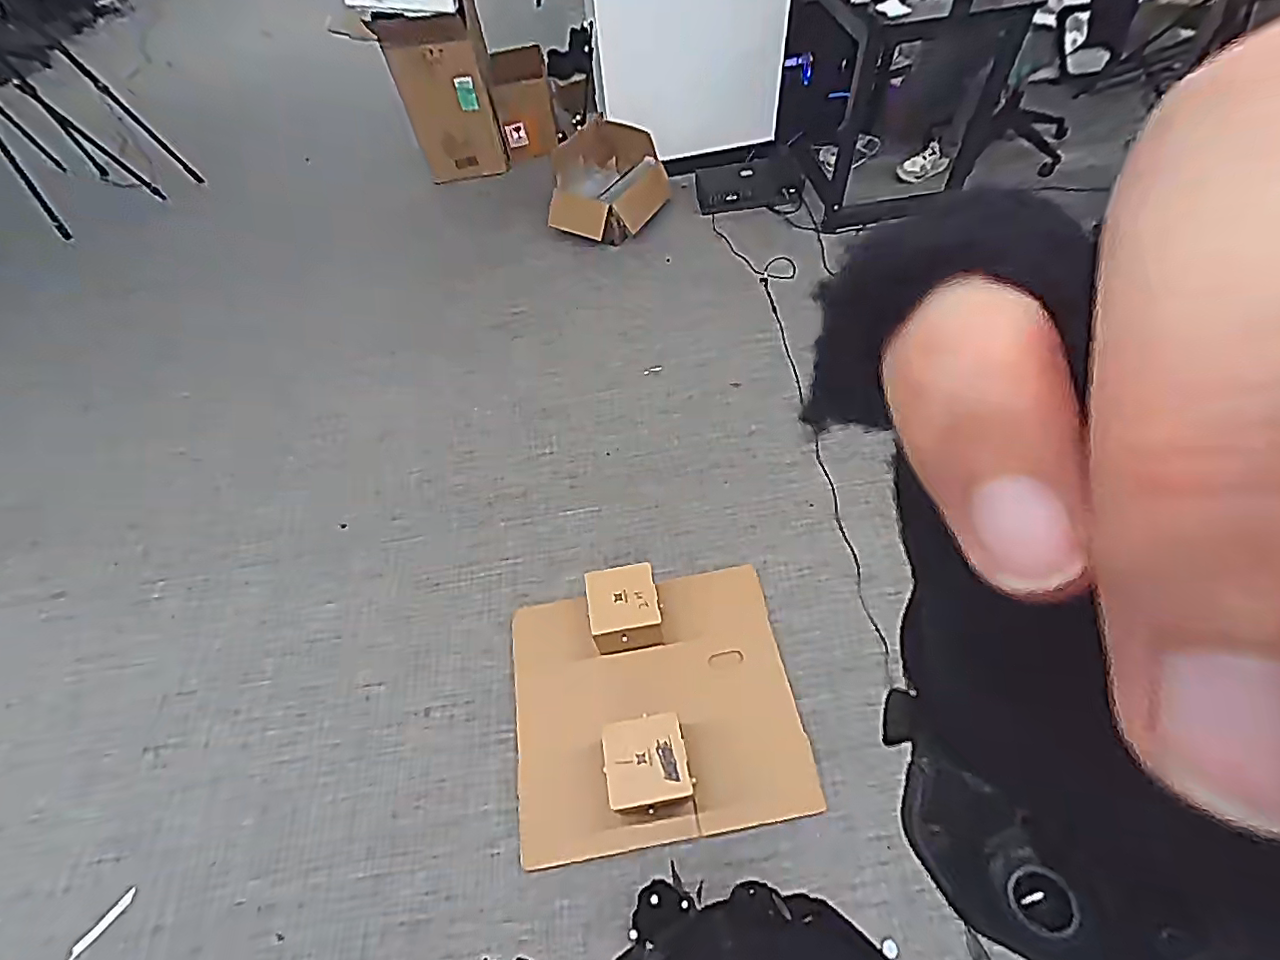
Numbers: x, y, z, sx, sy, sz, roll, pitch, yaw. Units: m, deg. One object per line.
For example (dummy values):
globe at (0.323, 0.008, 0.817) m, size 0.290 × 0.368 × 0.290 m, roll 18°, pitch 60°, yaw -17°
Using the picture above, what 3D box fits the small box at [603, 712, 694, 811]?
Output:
small box at (0.019, 0.640, 1.225) m, size 0.179 × 0.176 × 0.168 m, roll -11°, pitch 57°, yaw -1°

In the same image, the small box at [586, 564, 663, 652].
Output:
small box at (-0.038, 0.342, 1.423) m, size 0.179 × 0.176 × 0.168 m, roll -9°, pitch 57°, yaw -2°
